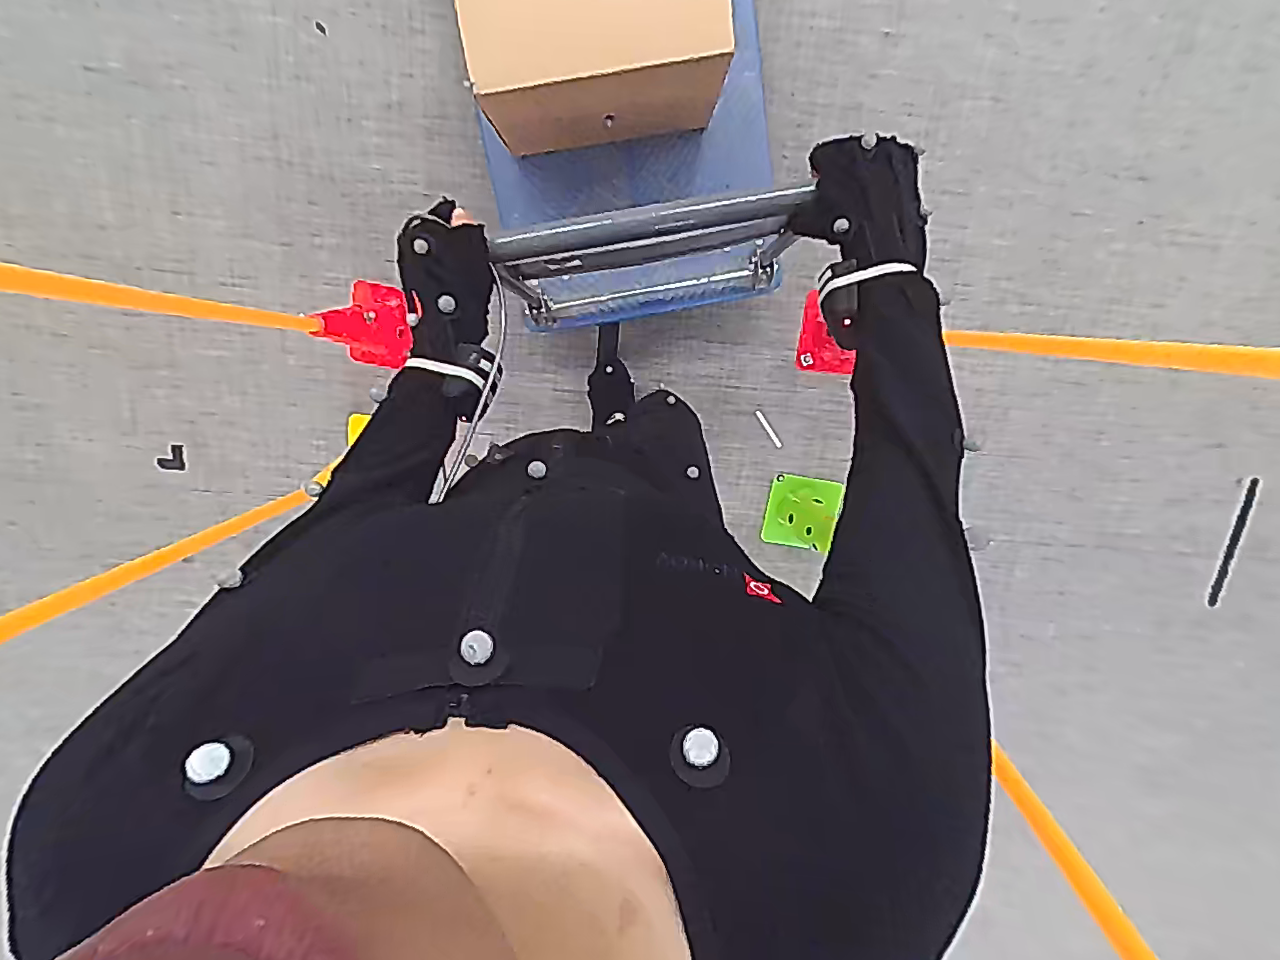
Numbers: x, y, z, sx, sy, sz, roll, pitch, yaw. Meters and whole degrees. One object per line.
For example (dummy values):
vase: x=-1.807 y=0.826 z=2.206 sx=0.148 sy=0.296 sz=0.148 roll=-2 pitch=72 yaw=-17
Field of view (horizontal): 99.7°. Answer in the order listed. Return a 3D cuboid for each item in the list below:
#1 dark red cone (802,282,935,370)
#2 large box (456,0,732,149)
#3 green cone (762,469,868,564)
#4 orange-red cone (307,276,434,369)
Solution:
dark red cone: x=0.520 y=-0.341 z=1.192 sx=0.201 sy=0.394 sz=0.202 roll=4 pitch=105 yaw=-4
large box: x=-0.079 y=-0.807 z=0.919 sx=0.408 sy=0.320 sz=0.320 roll=-8 pitch=106 yaw=2
green cone: x=0.457 y=0.120 z=1.332 sx=0.202 sy=0.368 sz=0.200 roll=8 pitch=105 yaw=-5
orange-red cone: x=-0.615 y=-0.349 z=1.182 sx=0.198 sy=0.360 sz=0.199 roll=11 pitch=103 yaw=-5
